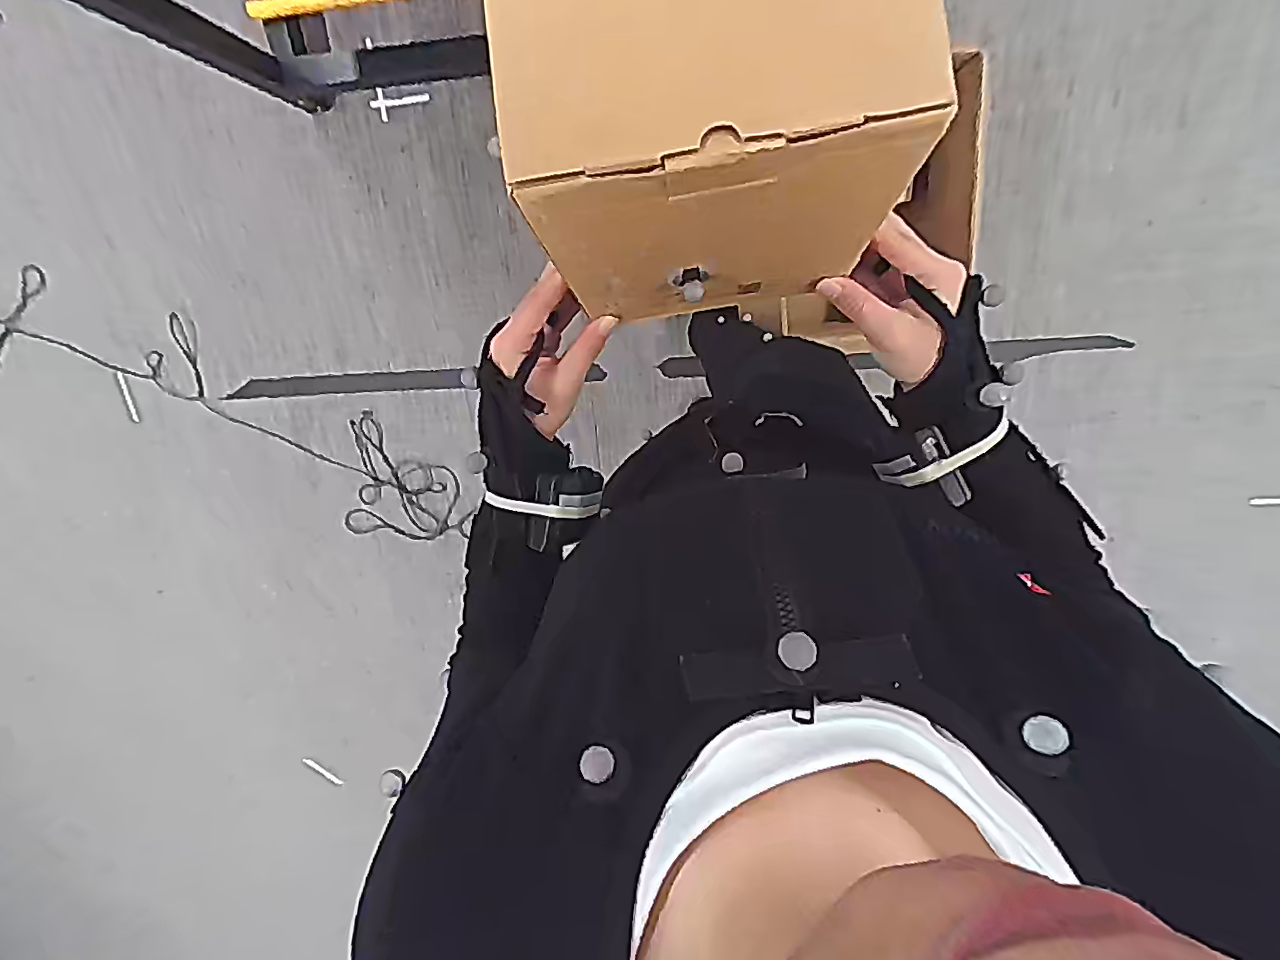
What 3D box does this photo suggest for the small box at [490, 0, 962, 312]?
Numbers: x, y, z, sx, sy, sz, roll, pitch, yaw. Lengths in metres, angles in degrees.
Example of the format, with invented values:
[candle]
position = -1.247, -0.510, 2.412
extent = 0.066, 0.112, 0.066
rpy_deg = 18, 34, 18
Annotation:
[small box]
position = 0.029, -0.208, 0.277
extent = 0.168, 0.176, 0.179
rpy_deg = -7, 88, 7
